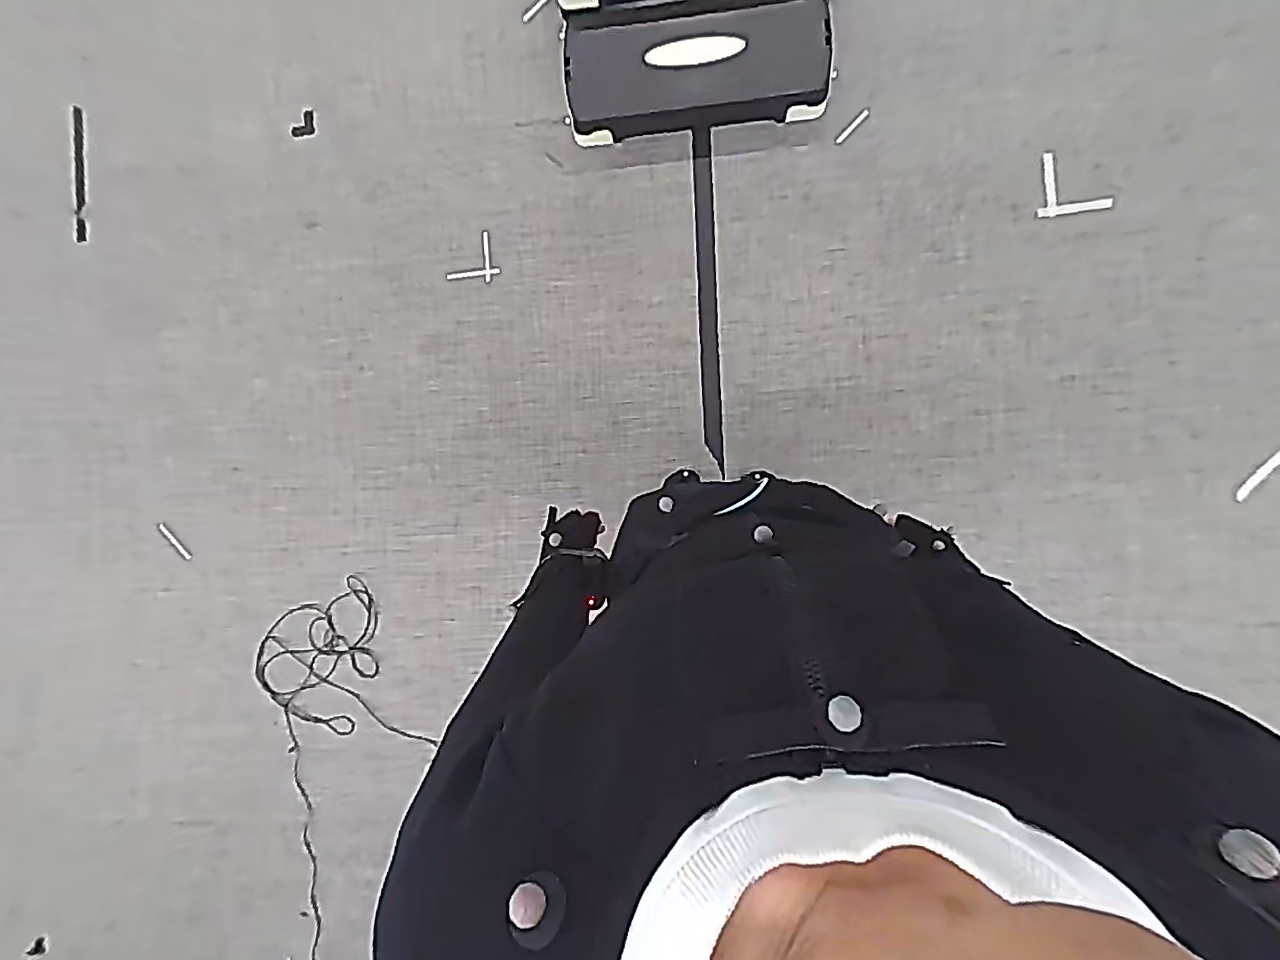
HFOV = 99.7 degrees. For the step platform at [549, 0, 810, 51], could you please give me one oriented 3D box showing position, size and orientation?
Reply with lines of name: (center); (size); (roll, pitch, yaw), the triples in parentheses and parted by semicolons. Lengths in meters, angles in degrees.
step platform: (0.097, -1.316, 1.337); (0.684, 0.204, 0.286); (-4, 91, 5)
